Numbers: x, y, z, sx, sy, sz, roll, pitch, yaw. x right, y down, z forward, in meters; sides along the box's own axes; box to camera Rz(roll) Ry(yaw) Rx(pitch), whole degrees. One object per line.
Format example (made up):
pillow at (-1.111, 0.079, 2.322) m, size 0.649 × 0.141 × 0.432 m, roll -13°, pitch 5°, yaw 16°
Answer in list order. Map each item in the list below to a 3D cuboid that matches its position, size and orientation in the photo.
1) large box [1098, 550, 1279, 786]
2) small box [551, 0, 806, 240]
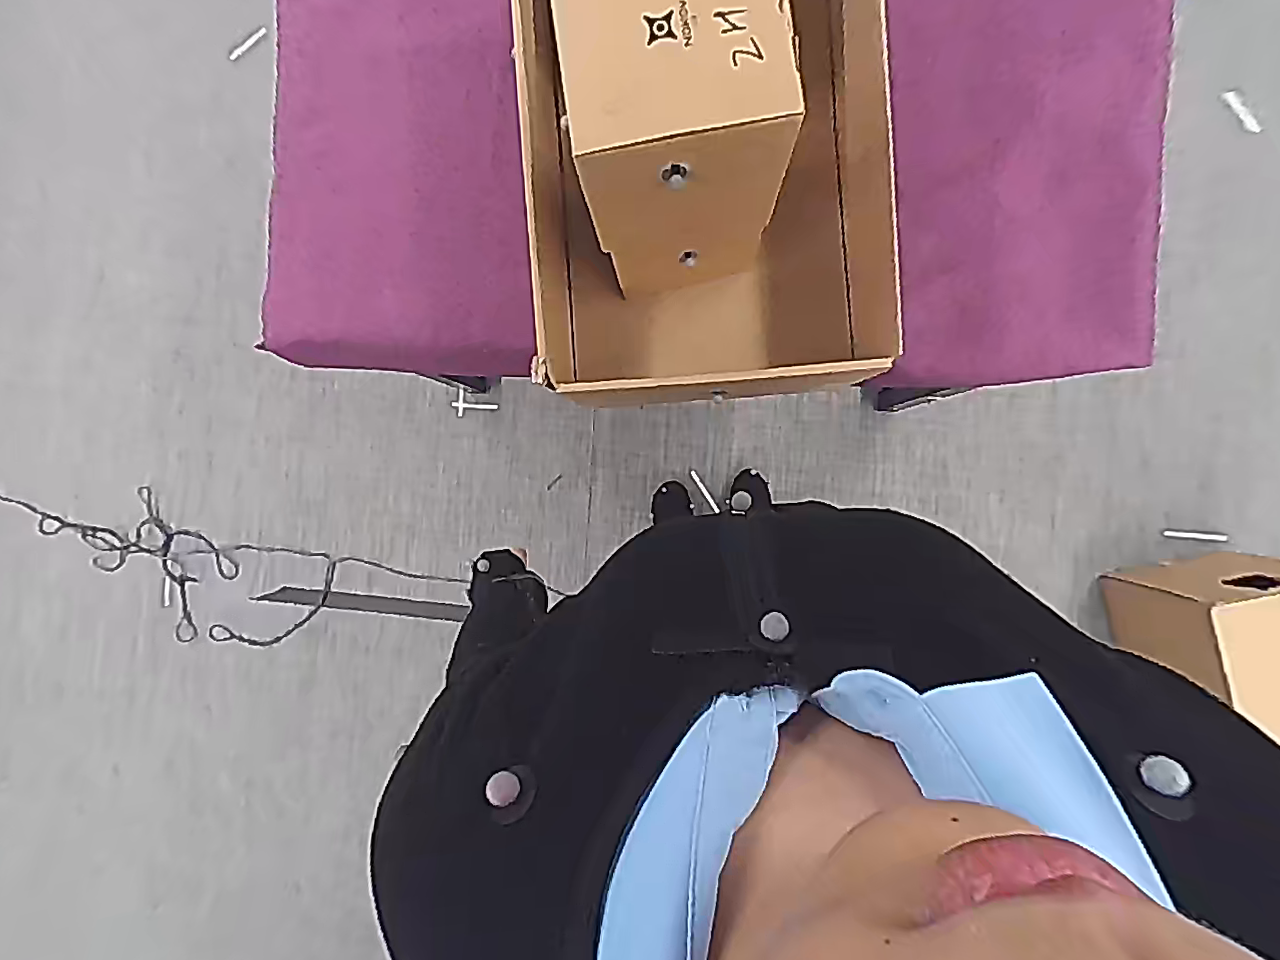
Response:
large box at (1.384, 0.409, 1.259) m, size 0.320 × 0.320 × 0.408 m, roll -15°, pitch 89°, yaw 4°
small box at (0.030, -0.333, 0.473) m, size 0.179 × 0.176 × 0.168 m, roll -8°, pitch 89°, yaw 3°
